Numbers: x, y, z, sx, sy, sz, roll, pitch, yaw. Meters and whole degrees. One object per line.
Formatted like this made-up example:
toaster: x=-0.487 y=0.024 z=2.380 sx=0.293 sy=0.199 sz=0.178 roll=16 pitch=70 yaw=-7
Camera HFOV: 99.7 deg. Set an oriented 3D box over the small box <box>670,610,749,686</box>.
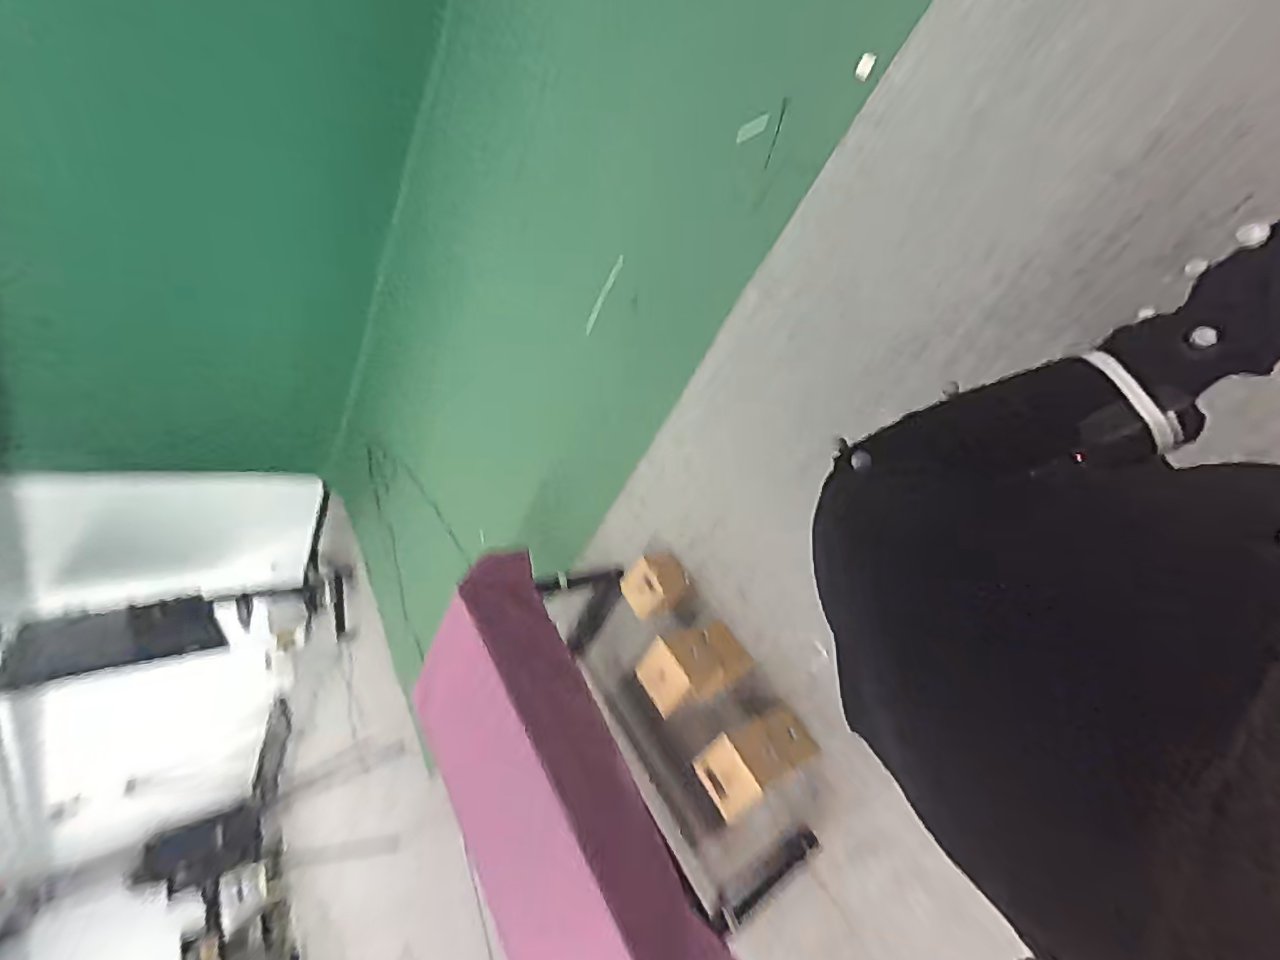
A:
small box: x=0.242 y=0.570 z=1.860 sx=0.179 sy=0.176 sz=0.168 roll=52 pitch=125 yaw=32
